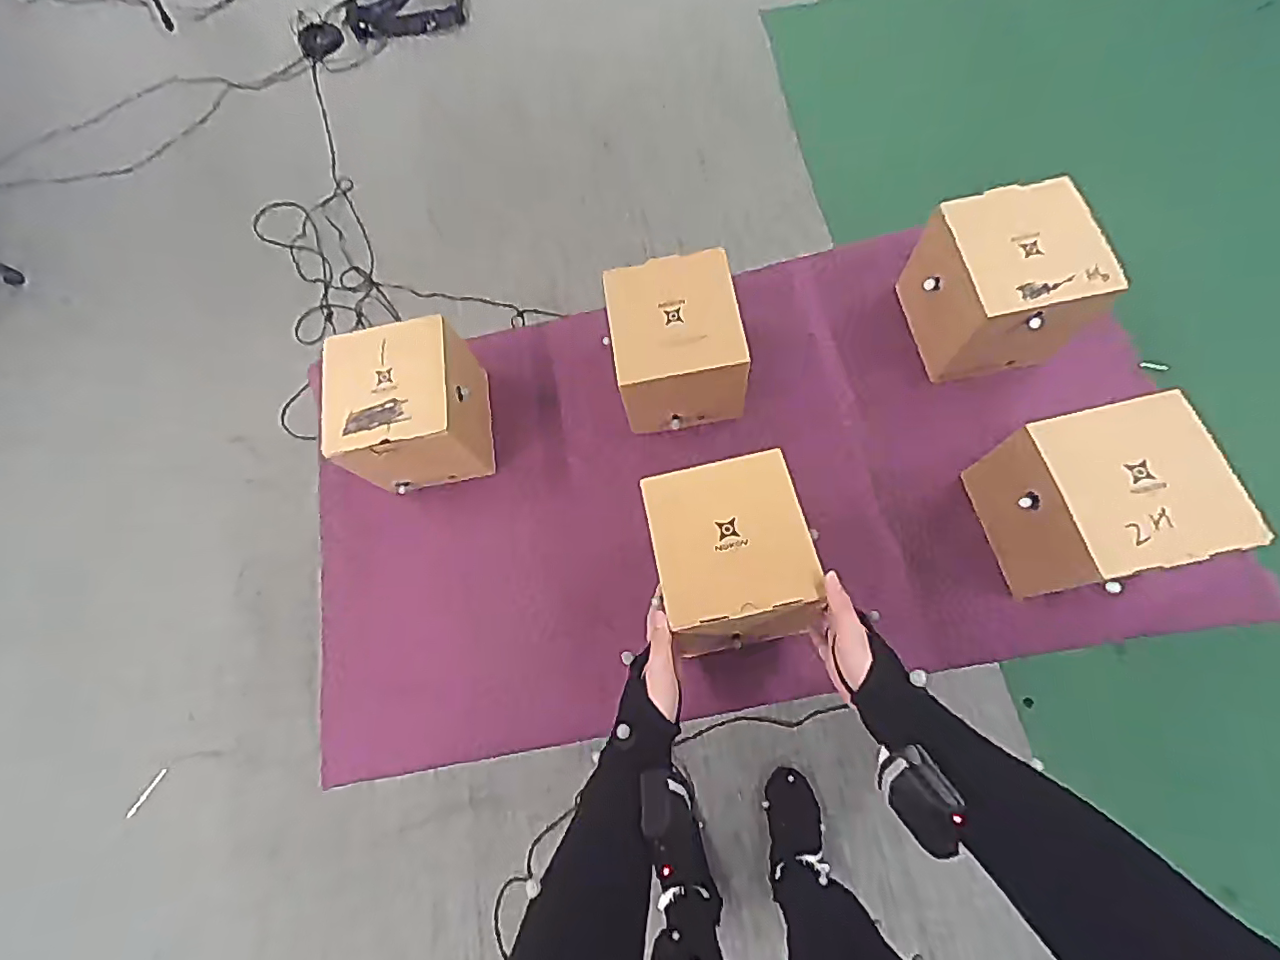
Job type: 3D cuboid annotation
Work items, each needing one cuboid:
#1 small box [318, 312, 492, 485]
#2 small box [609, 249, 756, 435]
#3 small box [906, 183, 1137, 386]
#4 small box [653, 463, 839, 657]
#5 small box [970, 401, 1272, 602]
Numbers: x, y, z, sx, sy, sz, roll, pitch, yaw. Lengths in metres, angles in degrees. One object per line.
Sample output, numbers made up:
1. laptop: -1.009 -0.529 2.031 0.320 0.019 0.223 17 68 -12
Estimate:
1. small box: -0.314 -0.100 0.751 0.168 0.176 0.179 -10 73 2
2. small box: 0.055 -0.181 0.746 0.168 0.176 0.179 -9 73 3
3. small box: 0.485 -0.251 0.724 0.168 0.176 0.179 -10 72 3
4. small box: 0.111 0.103 0.645 0.168 0.176 0.179 -11 67 1
5. small box: 0.526 0.035 0.628 0.168 0.176 0.179 -12 72 3
